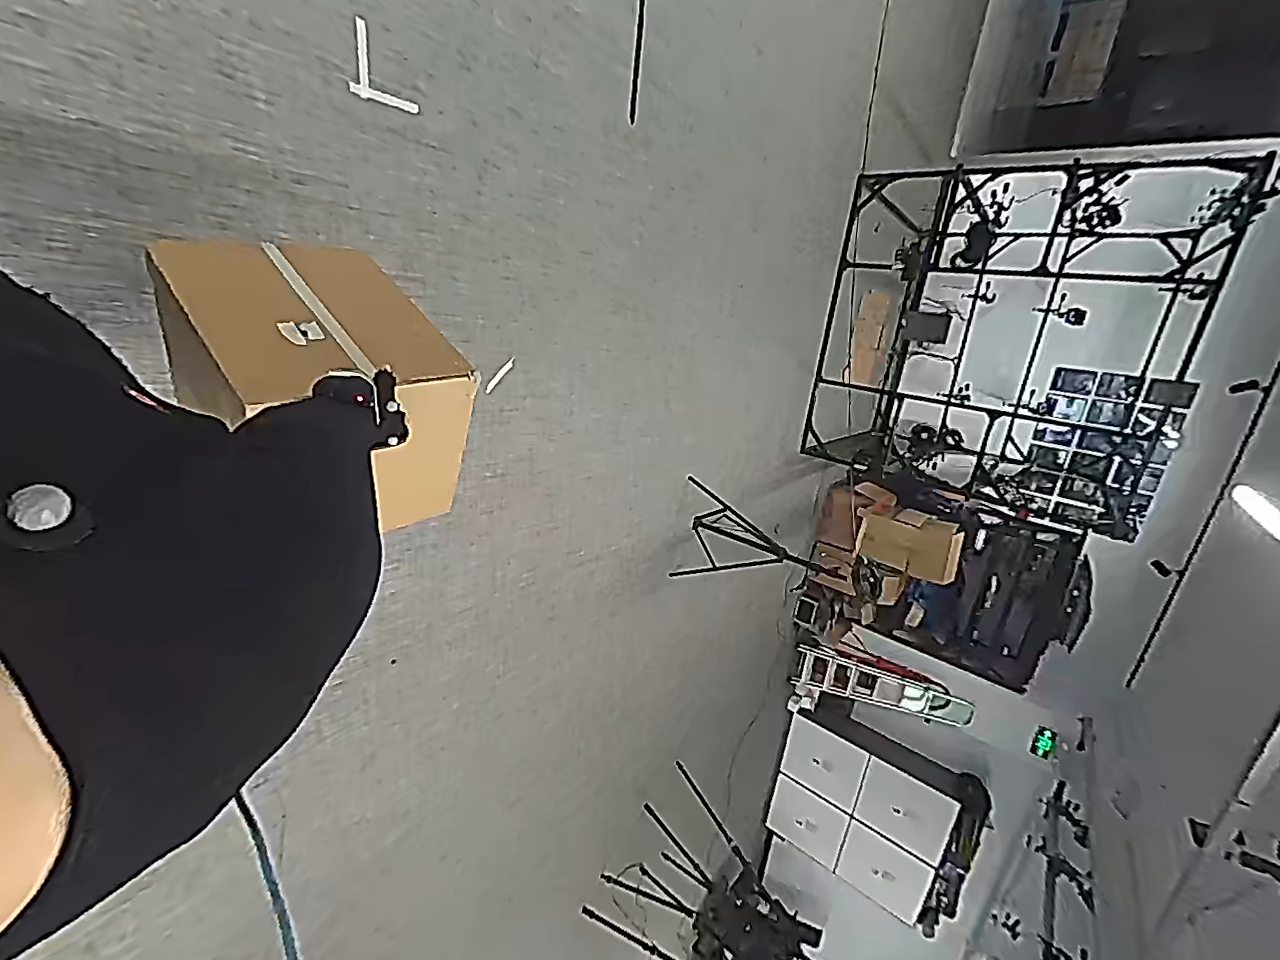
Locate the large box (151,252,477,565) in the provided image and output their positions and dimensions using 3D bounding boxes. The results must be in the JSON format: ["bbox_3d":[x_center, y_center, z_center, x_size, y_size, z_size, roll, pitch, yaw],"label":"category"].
[{"bbox_3d":[-0.544,-0.137,0.916,0.320,0.408,0.320,-22,148,-44],"label":"large box"}]
